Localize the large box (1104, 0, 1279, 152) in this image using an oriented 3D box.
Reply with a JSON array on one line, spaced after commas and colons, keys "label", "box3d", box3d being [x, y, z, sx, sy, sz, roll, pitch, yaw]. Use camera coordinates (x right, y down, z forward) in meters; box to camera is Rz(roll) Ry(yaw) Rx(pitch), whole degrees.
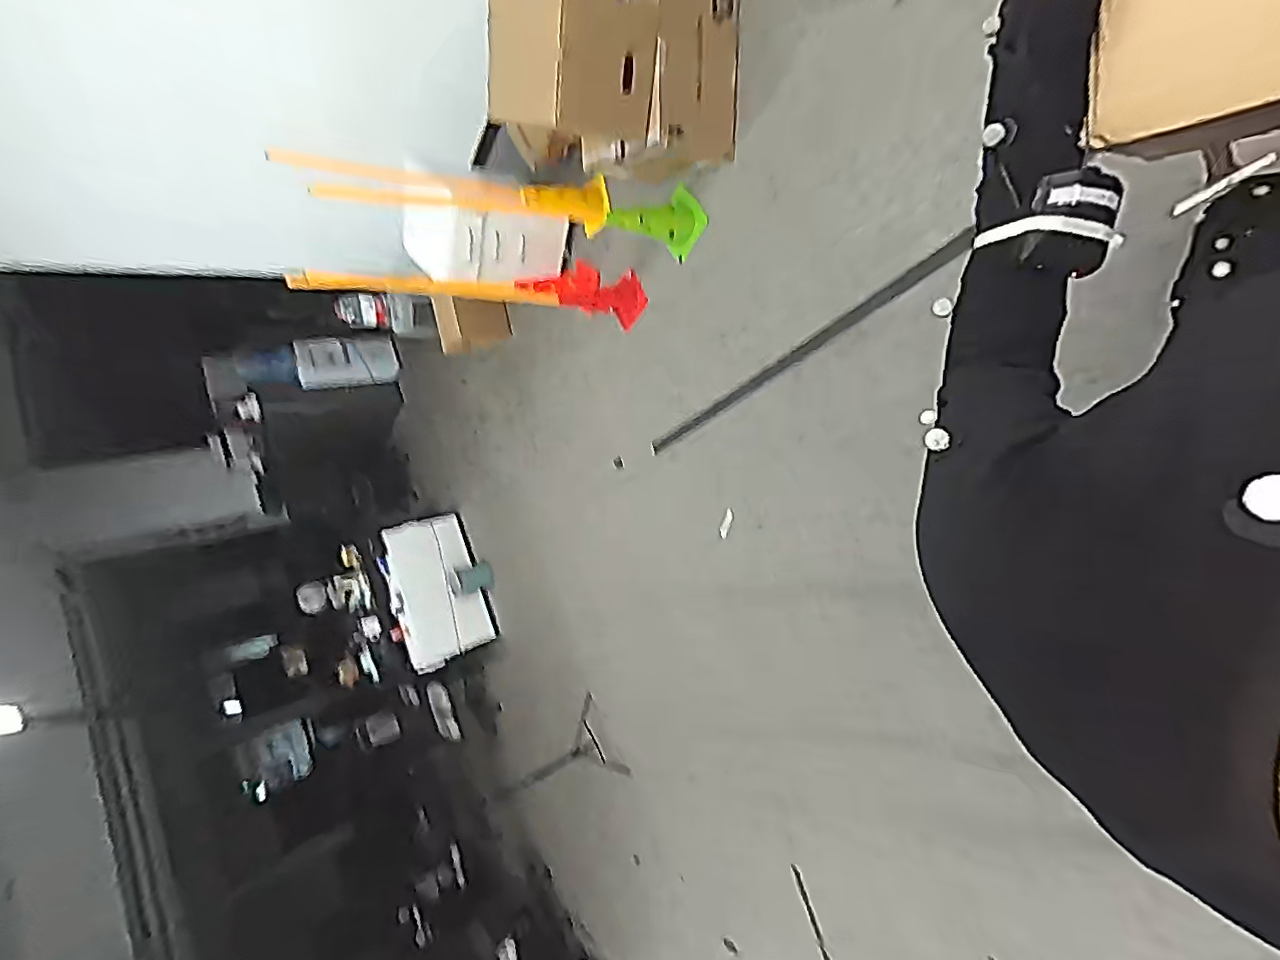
[{"label": "large box", "box3d": [0.549, -0.431, 0.306, 0.408, 0.320, 0.320, 7, 115, 46]}]
